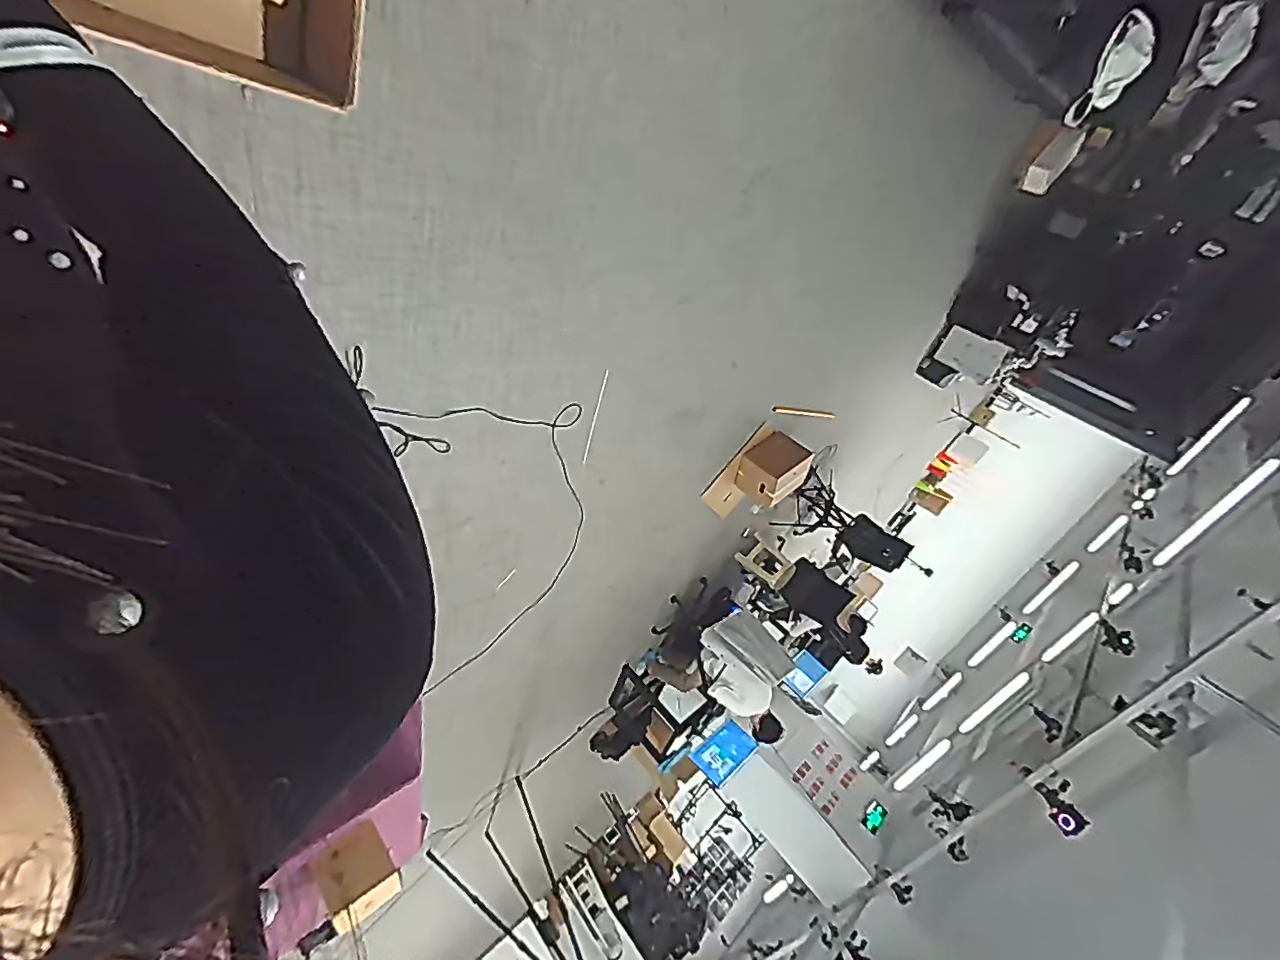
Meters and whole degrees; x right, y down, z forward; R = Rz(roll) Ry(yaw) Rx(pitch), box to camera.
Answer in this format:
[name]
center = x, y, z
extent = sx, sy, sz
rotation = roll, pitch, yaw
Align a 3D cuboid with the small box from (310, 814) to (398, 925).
[small box]
center = -0.789, 1.068, 1.496
extent = 0.168, 0.176, 0.179
rotation = -22, 143, -39
